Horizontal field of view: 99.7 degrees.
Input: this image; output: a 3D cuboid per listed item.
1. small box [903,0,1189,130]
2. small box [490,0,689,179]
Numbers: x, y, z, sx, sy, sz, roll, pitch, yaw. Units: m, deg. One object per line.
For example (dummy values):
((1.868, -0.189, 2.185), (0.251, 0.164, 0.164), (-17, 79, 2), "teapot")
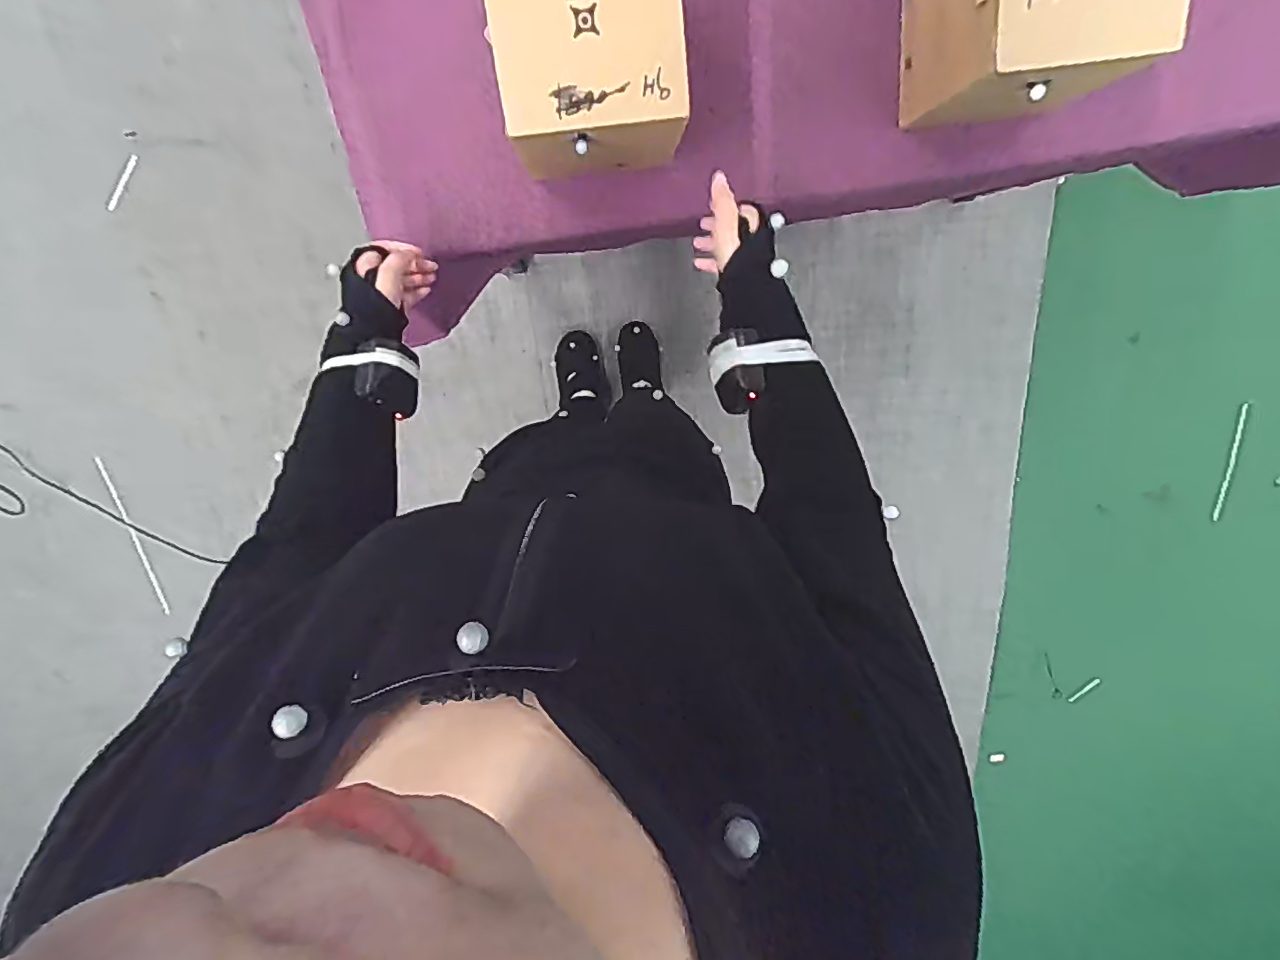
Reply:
((0.386, -0.469, 0.536), (0.179, 0.176, 0.168), (-7, 109, -1), "small box")
((-0.048, -0.417, 0.531), (0.168, 0.176, 0.179), (-6, 108, 0), "small box")
